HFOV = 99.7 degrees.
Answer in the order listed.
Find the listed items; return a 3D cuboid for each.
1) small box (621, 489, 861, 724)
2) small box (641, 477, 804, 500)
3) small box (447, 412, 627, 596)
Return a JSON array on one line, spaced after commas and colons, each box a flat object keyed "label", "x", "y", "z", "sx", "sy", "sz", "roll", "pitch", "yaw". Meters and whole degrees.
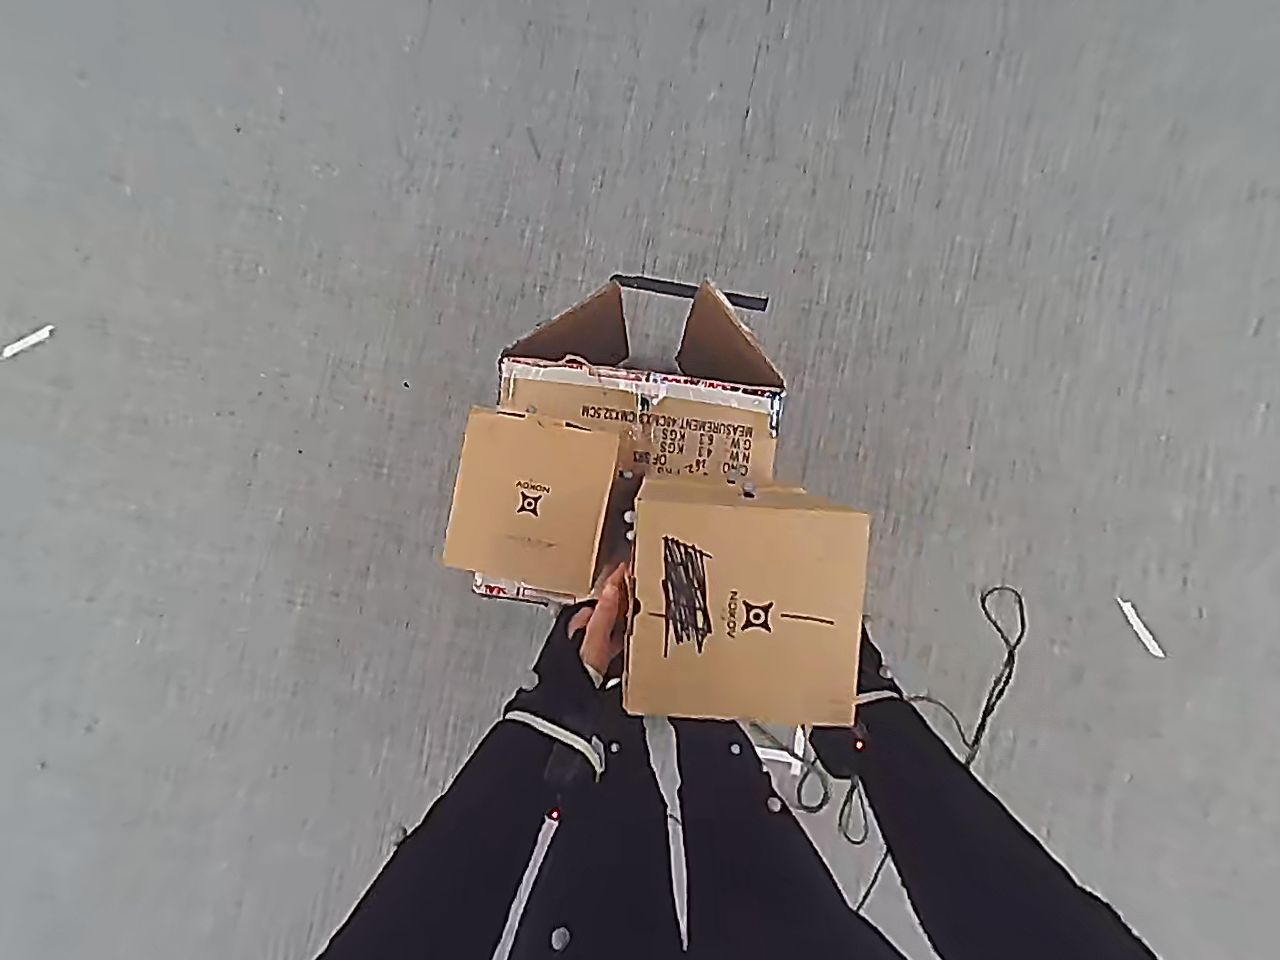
[{"label": "small box", "x": 0.079, "y": 0.098, "z": 0.496, "sx": 0.179, "sy": 0.176, "sz": 0.168, "roll": 3, "pitch": 93, "yaw": 1}, {"label": "small box", "x": 0.085, "y": 0.085, "z": 0.661, "sx": 0.179, "sy": 0.176, "sz": 0.168, "roll": 3, "pitch": 93, "yaw": 0}, {"label": "small box", "x": -0.112, "y": 0.023, "z": 0.663, "sx": 0.168, "sy": 0.176, "sz": 0.179, "roll": 11, "pitch": 93, "yaw": 3}]
